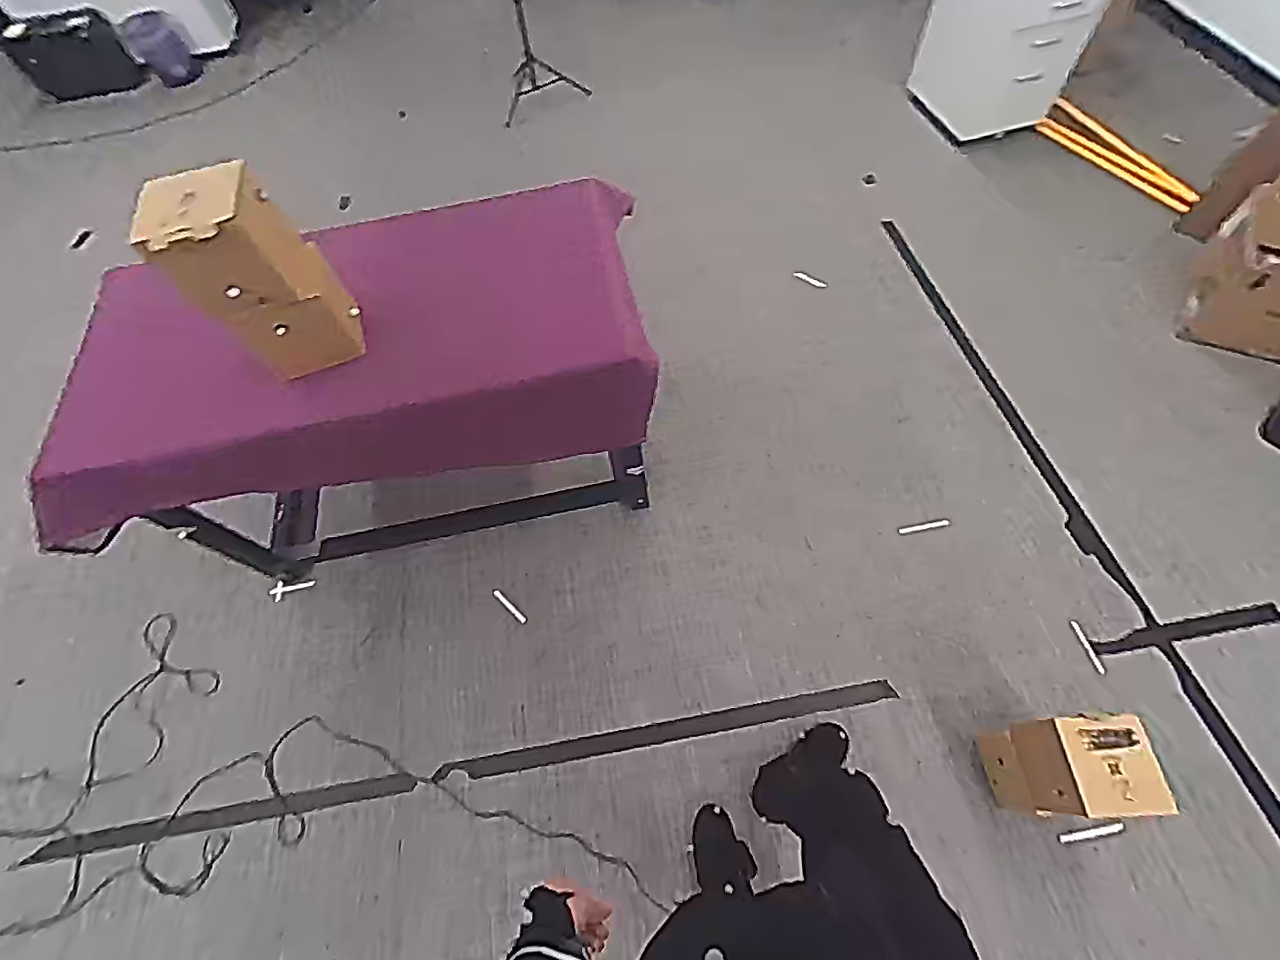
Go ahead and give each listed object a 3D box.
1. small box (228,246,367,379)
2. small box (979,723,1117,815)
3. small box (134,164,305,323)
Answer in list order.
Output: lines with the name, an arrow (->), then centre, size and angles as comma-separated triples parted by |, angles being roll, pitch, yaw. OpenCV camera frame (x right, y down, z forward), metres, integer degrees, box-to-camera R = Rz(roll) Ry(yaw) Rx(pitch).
small box -> -0.686, -0.331, 1.093 | 0.179, 0.176, 0.168 | -21, 62, -7
small box -> 0.926, 0.670, 1.254 | 0.179, 0.176, 0.168 | -8, 62, 0
small box -> -0.721, -0.410, 0.951 | 0.168, 0.176, 0.179 | -17, 62, -3
